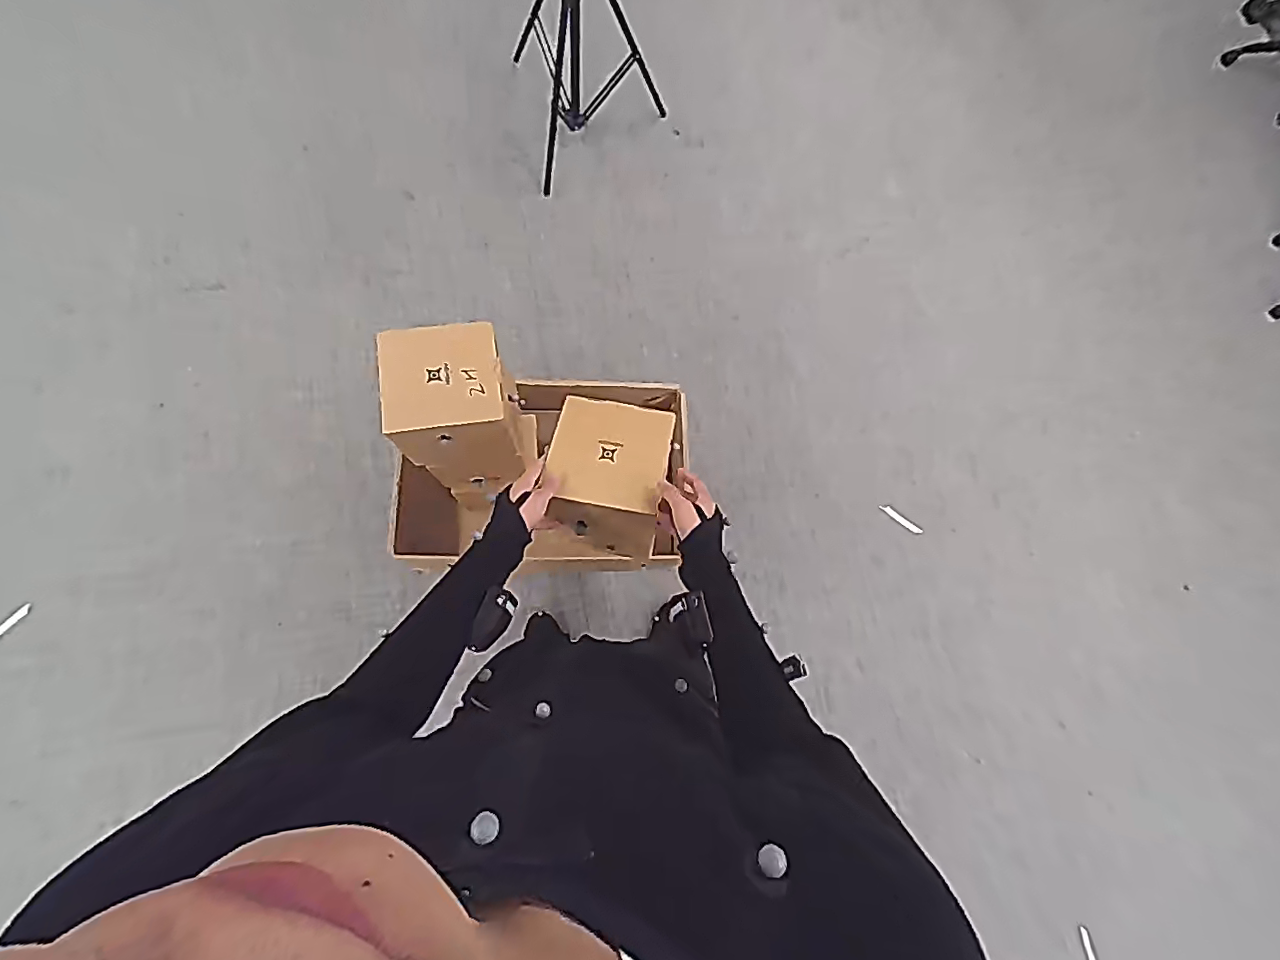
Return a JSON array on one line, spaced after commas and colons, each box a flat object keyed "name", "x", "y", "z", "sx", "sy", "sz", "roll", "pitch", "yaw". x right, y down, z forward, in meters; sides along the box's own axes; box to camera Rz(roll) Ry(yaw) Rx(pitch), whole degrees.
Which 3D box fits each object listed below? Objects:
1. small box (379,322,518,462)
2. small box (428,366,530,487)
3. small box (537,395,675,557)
[{"name": "small box", "x": -0.303, "y": -0.135, "z": 0.882, "sx": 0.179, "sy": 0.176, "sz": 0.168, "roll": -8, "pitch": 77, "yaw": -8}, {"name": "small box", "x": -0.309, "y": -0.097, "z": 1.041, "sx": 0.168, "sy": 0.176, "sz": 0.179, "roll": -8, "pitch": 77, "yaw": -8}, {"name": "small box", "x": -0.046, "y": 0.000, "z": 0.825, "sx": 0.168, "sy": 0.176, "sz": 0.179, "roll": 11, "pitch": 60, "yaw": 2}]
